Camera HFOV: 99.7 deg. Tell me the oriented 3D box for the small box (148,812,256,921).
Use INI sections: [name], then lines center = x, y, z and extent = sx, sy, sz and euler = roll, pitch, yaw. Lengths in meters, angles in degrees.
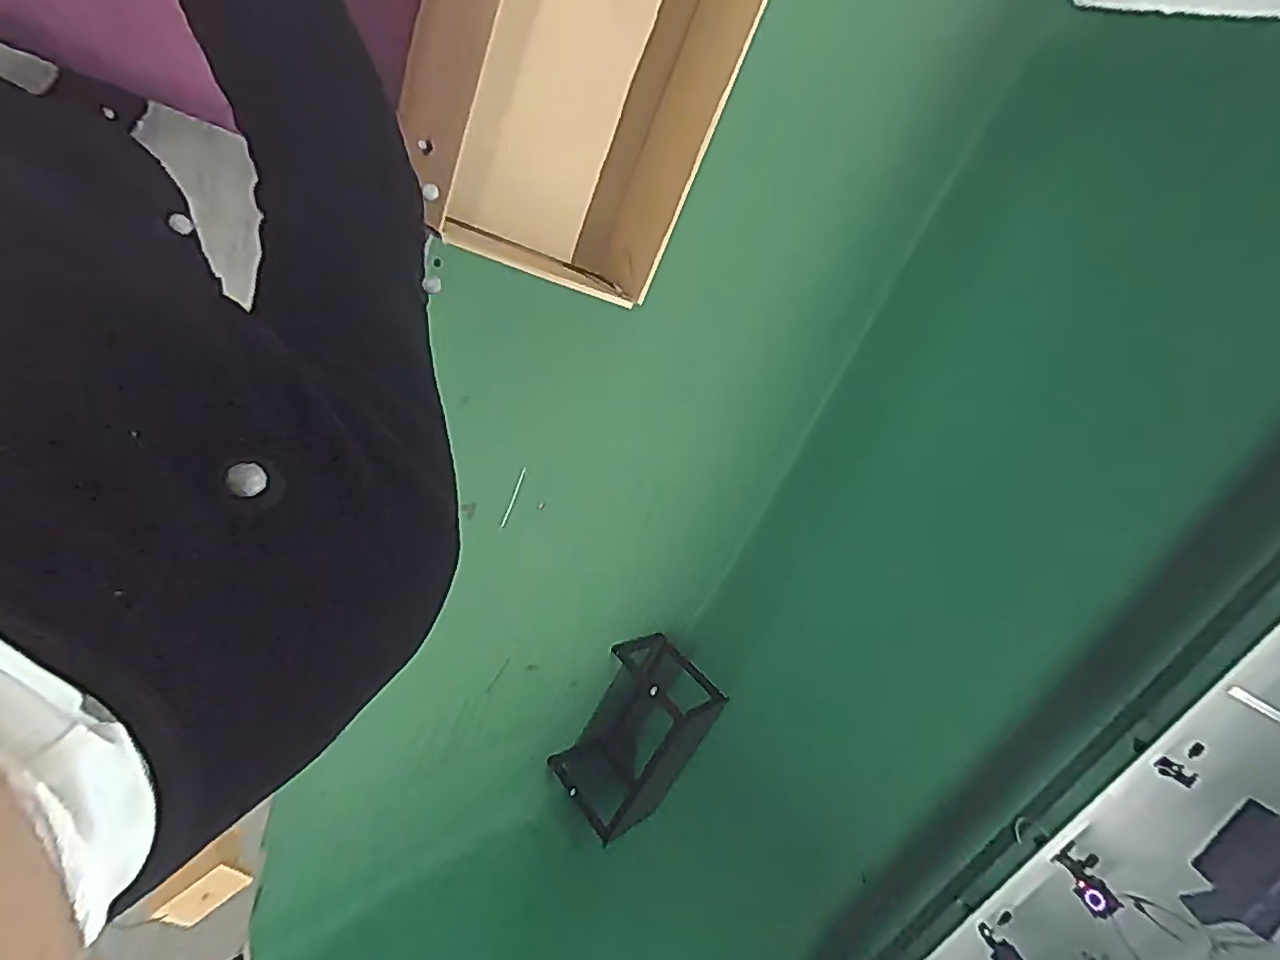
[small box]
center = -1.227, 1.079, 1.517
extent = 0.168, 0.176, 0.179
euler = -32, 141, -29
